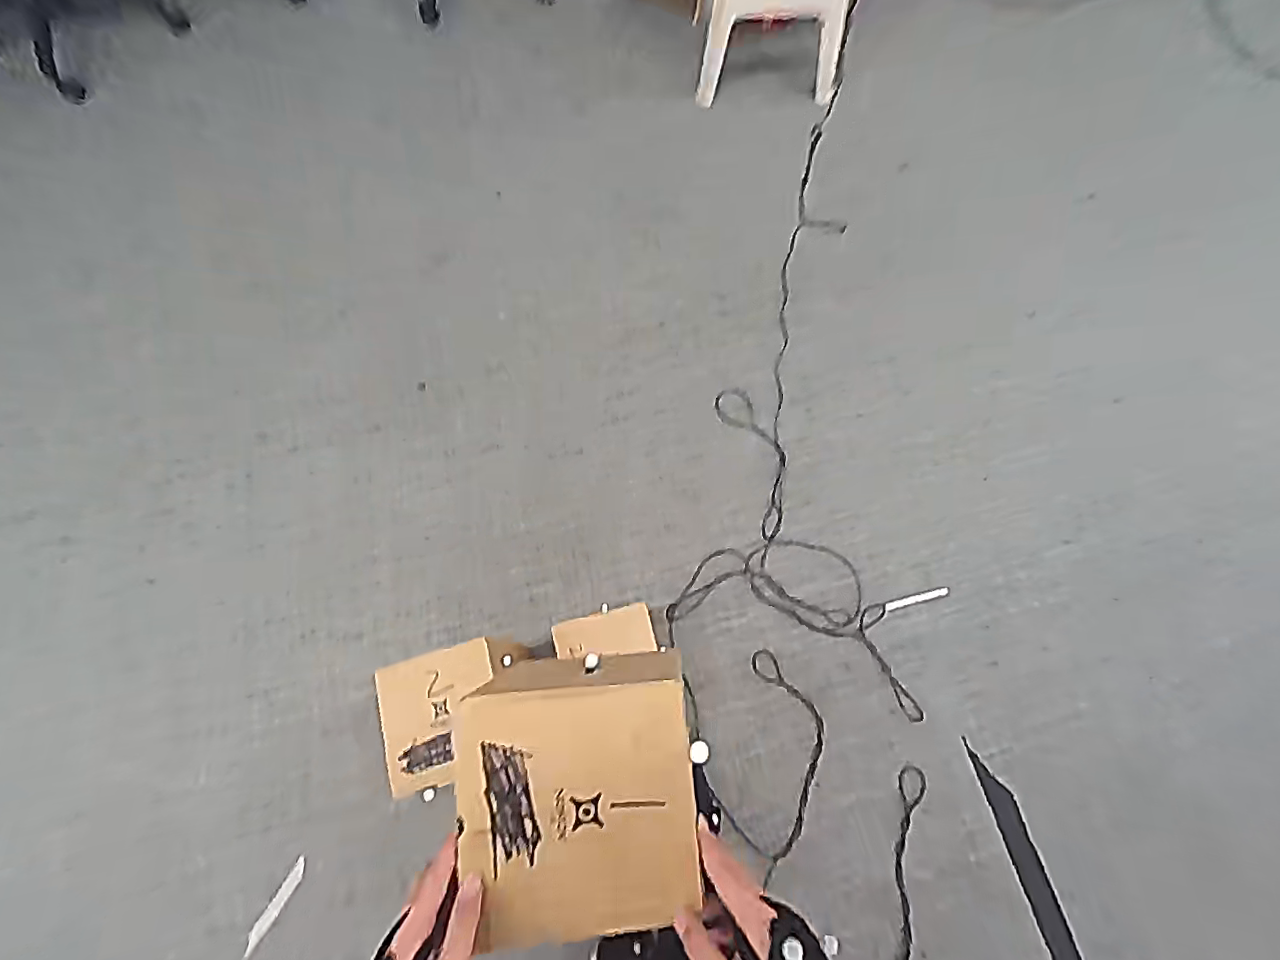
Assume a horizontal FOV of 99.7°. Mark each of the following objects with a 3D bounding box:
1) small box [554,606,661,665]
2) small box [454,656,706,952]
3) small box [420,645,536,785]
[{"bbox_3d":[-0.048,0.338,0.995,0.179,0.176,0.168,-14,71,-3],"label":"small box"},{"bbox_3d":[-0.041,0.253,0.464,0.179,0.176,0.168,-6,80,2],"label":"small box"},{"bbox_3d":[-0.268,0.415,0.977,0.168,0.176,0.179,-21,72,-6],"label":"small box"}]
